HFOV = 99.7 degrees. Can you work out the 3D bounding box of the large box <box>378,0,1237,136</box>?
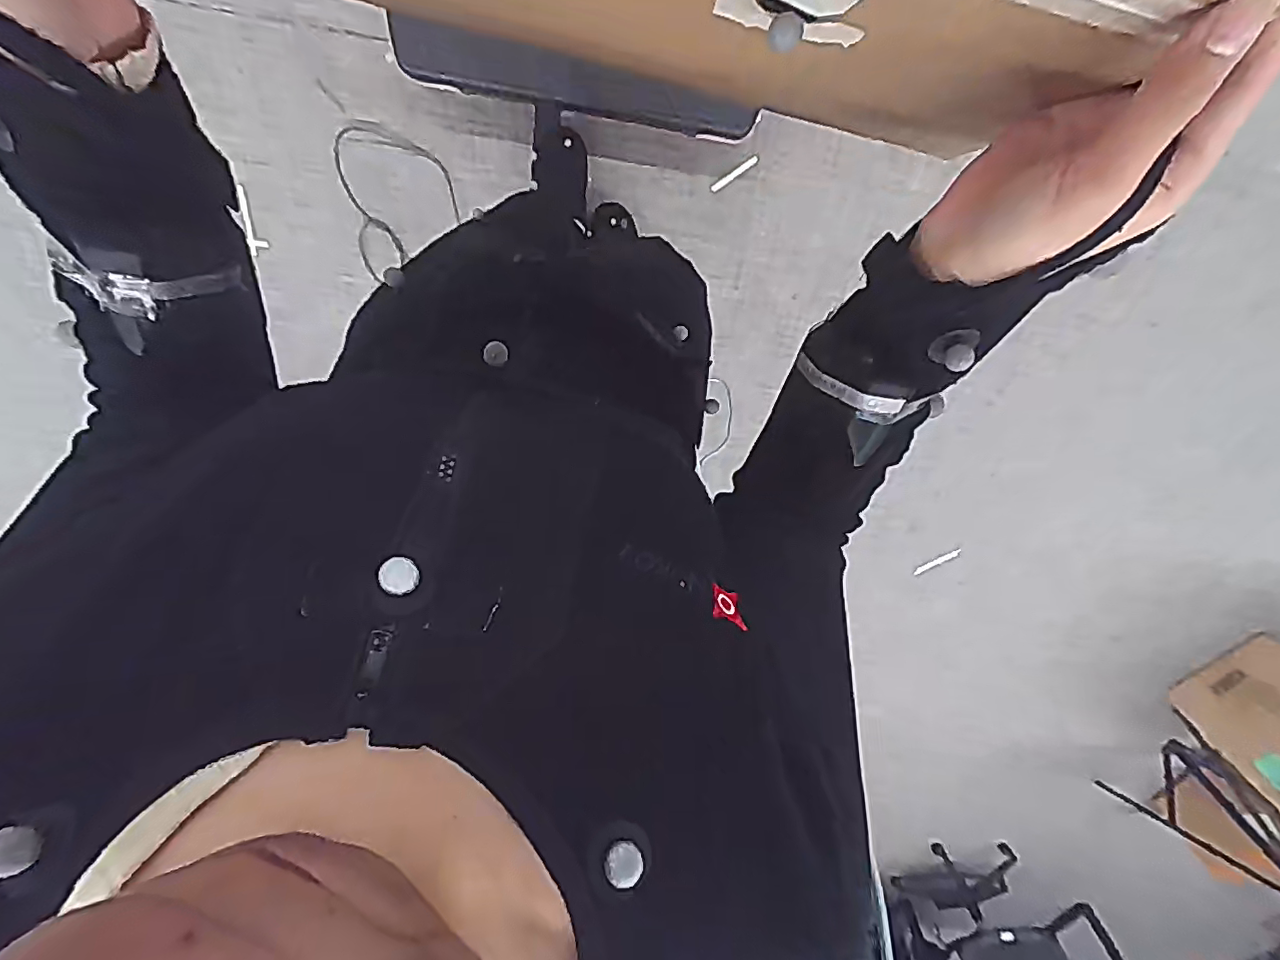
[{"bbox_3d":[0.018,-0.325,0.105,0.408,0.320,0.320,8,108,-7],"label":"large box"}]
